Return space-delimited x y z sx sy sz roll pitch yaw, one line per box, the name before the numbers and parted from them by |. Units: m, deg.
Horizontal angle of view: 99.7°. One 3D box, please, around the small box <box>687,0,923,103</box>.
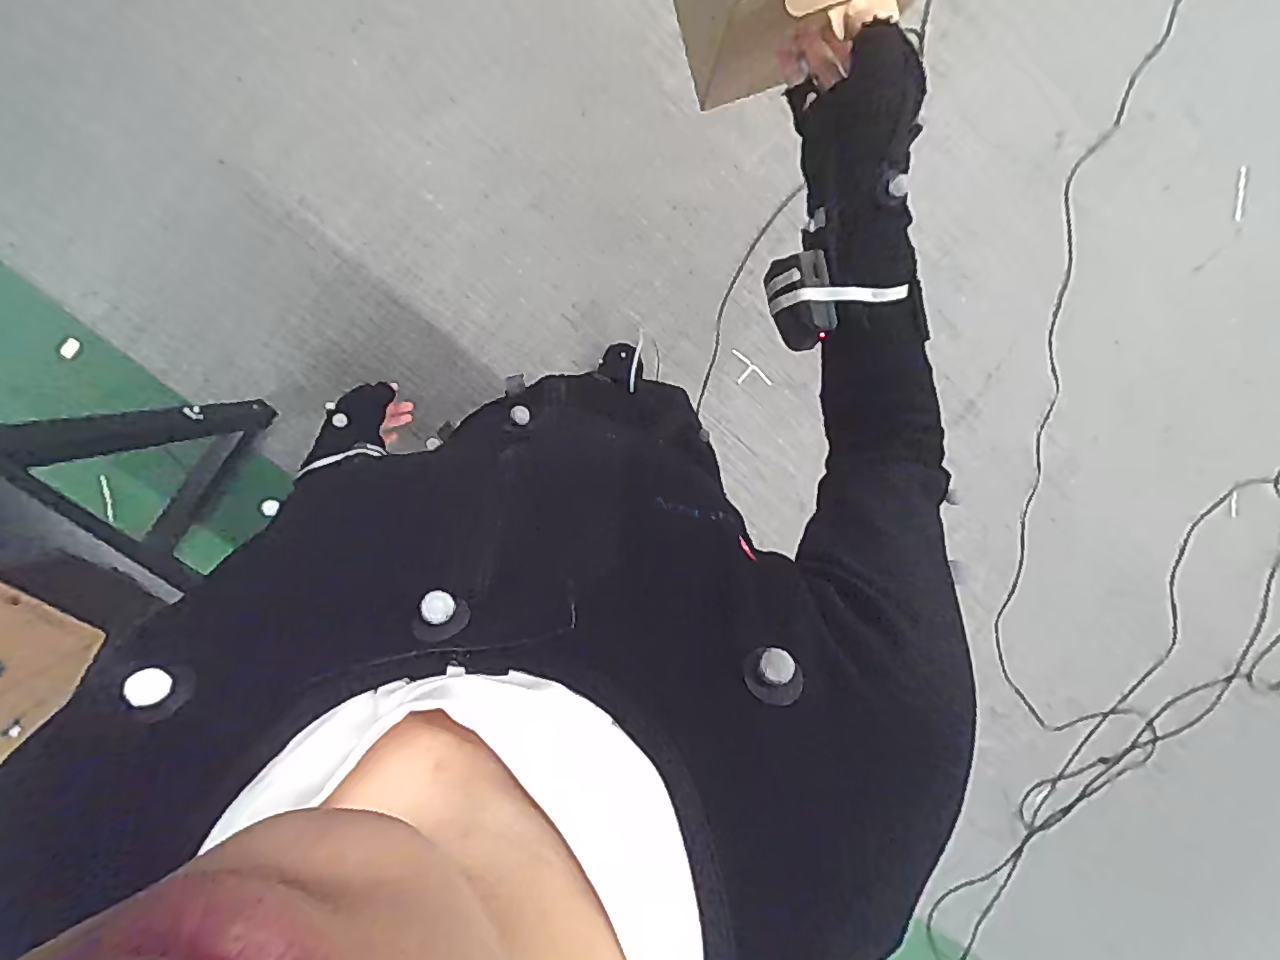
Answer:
small box | 0.121 -0.430 0.402 0.168 0.176 0.179 -16 103 2
